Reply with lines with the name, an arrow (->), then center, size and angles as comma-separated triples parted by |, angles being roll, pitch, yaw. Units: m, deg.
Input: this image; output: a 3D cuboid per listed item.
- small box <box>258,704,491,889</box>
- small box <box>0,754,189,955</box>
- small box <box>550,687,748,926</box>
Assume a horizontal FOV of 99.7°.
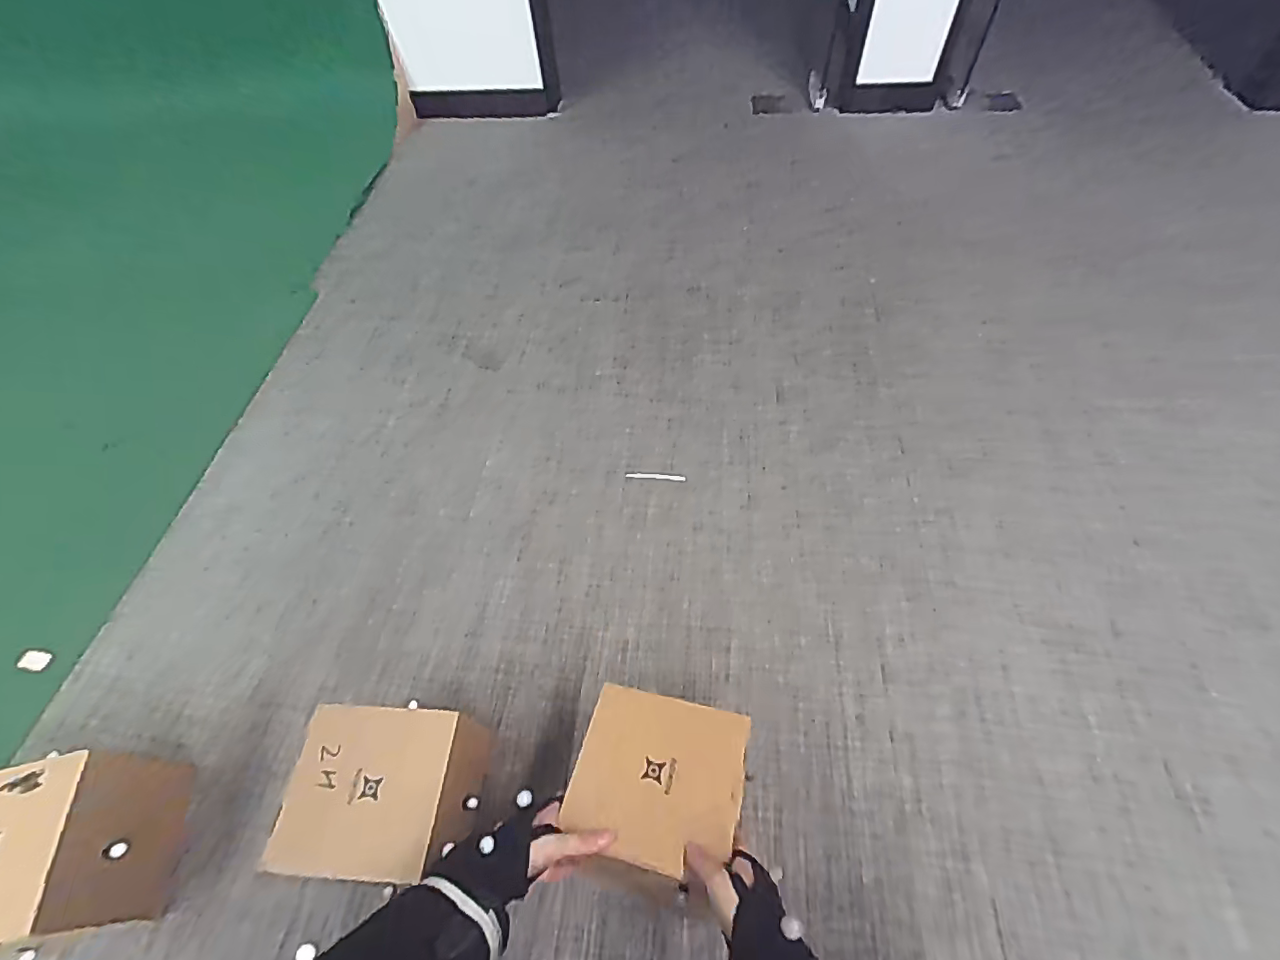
small box -> -0.298, 0.382, 0.658 | 0.179, 0.176, 0.168 | 2, 56, 4
small box -> -0.691, 0.445, 0.642 | 0.168, 0.176, 0.179 | -12, 57, -4
small box -> 0.019, 0.371, 0.618 | 0.179, 0.176, 0.168 | 9, 42, 13
